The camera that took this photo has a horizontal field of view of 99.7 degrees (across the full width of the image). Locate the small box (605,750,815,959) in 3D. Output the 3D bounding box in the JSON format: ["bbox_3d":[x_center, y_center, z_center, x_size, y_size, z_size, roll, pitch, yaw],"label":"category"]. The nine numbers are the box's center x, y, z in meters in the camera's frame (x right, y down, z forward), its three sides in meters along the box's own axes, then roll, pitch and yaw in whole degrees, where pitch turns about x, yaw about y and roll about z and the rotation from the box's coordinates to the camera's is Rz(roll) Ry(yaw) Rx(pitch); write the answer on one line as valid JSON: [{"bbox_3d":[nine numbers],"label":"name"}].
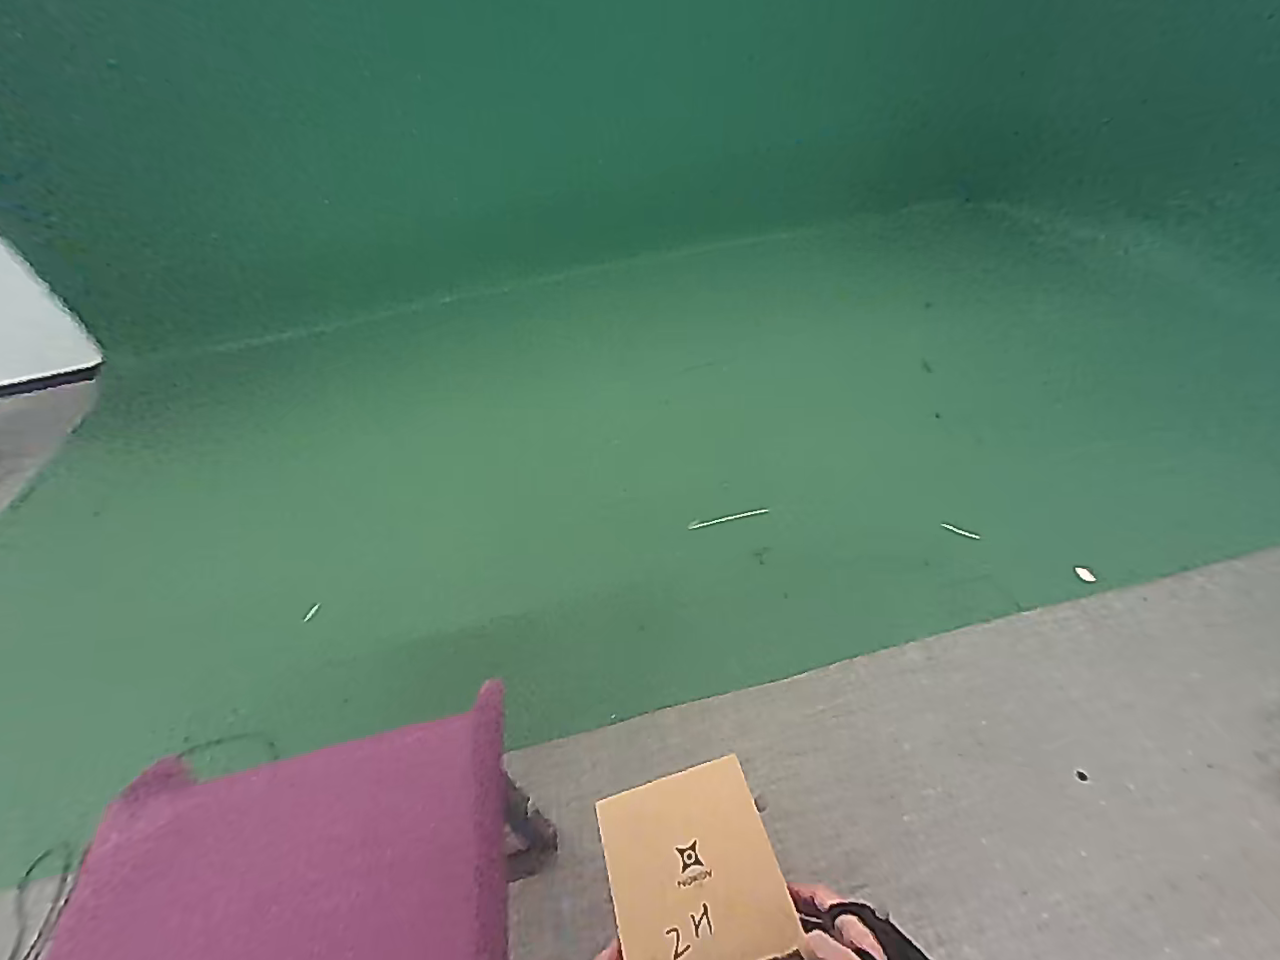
[{"bbox_3d":[0.068,0.431,0.583,0.168,0.176,0.179,-16,43,-4],"label":"small box"}]
